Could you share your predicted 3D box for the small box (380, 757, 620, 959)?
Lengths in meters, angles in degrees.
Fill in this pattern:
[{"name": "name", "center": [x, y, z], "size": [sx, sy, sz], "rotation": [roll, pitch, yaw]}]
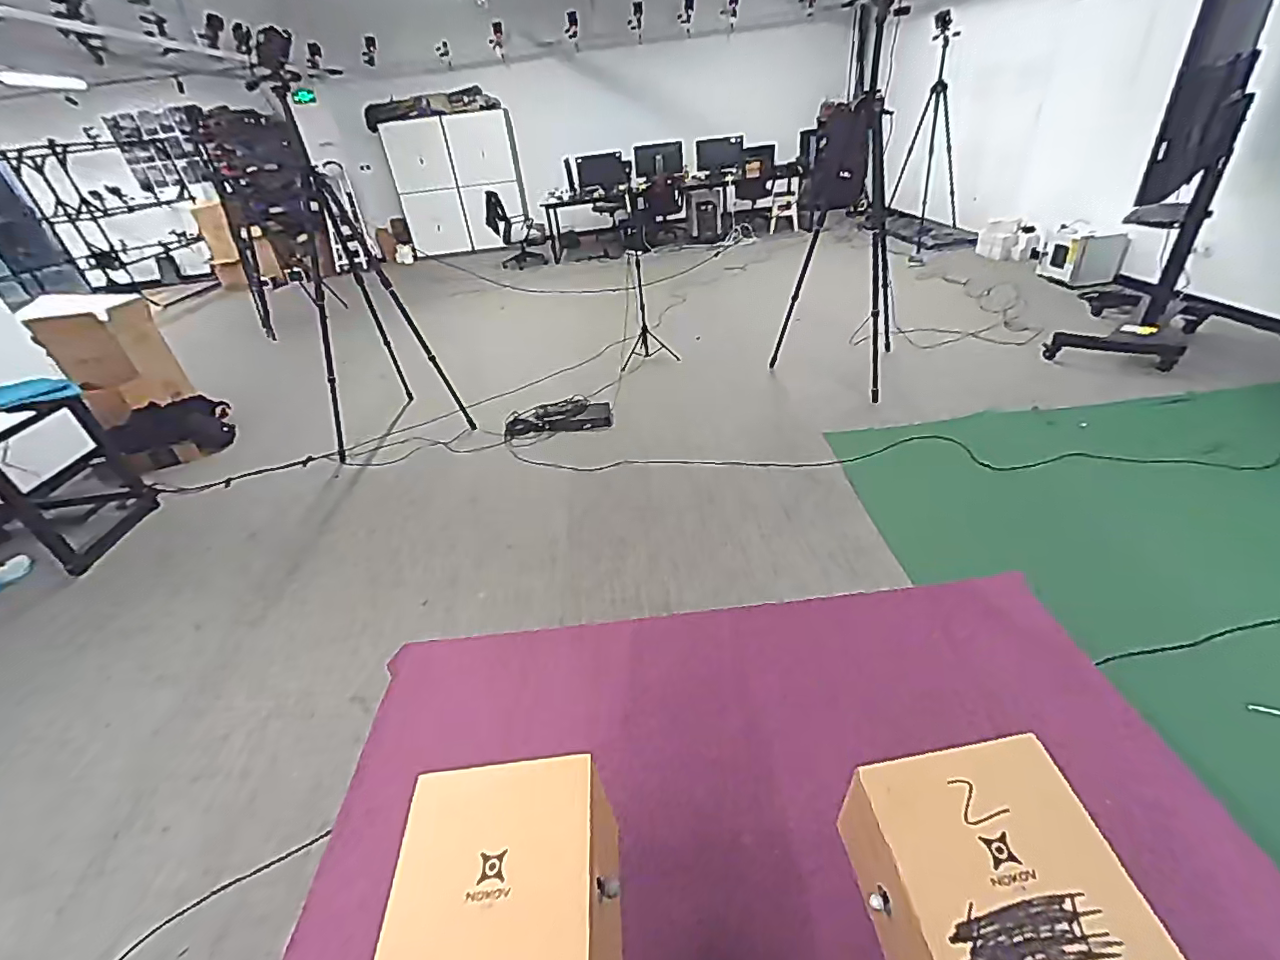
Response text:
[{"name": "small box", "center": [-0.112, 0.390, 0.502], "size": [0.168, 0.176, 0.179], "rotation": [-8, 39, 2]}]
